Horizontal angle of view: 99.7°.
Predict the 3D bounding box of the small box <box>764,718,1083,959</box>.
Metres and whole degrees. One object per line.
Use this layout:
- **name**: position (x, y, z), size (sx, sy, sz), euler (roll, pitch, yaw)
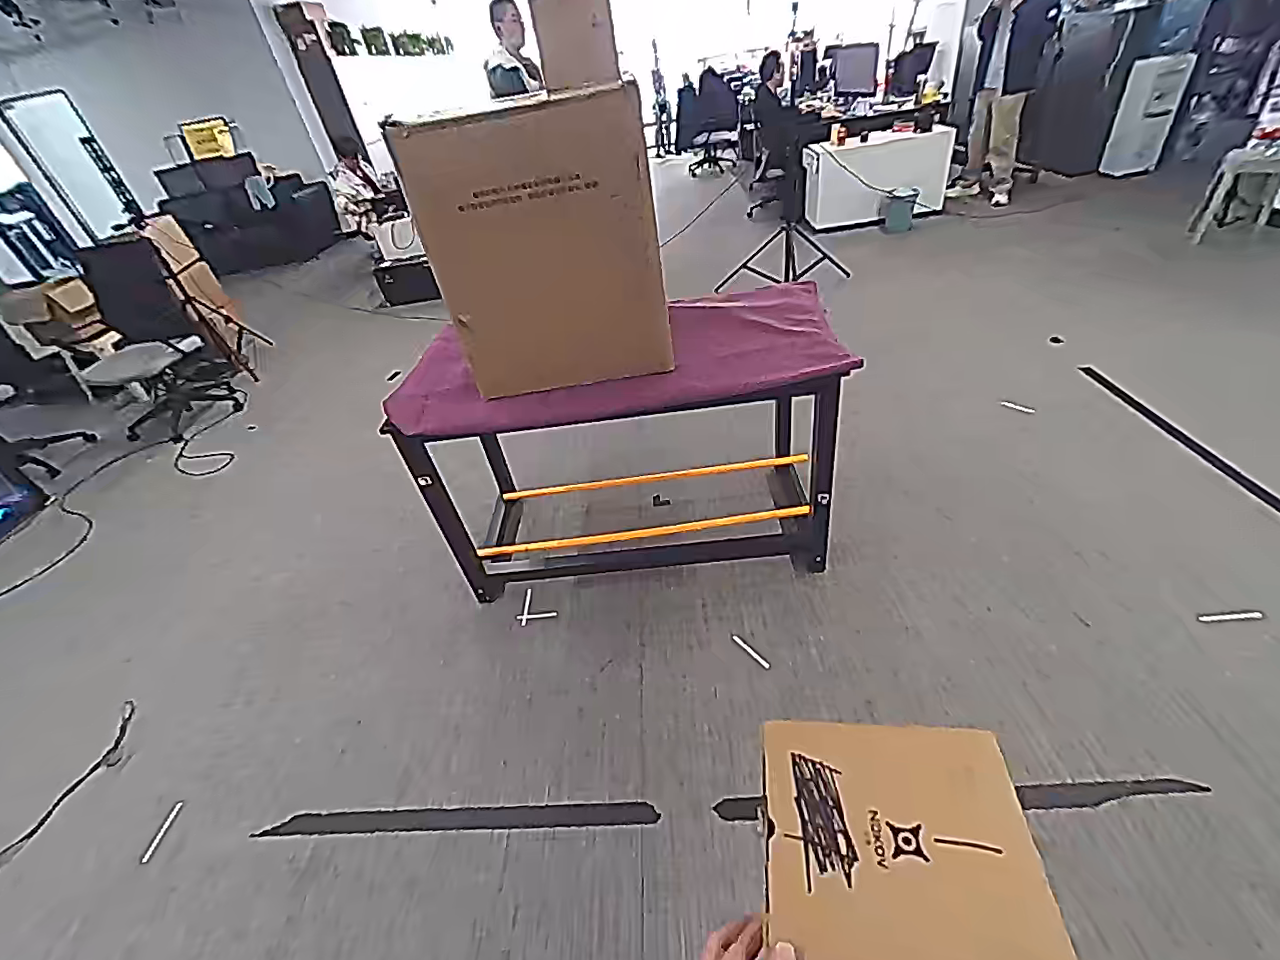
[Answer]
- **small box**: position (0.192, 0.309, 0.418), size (0.179, 0.176, 0.168), euler (-3, 36, 13)
